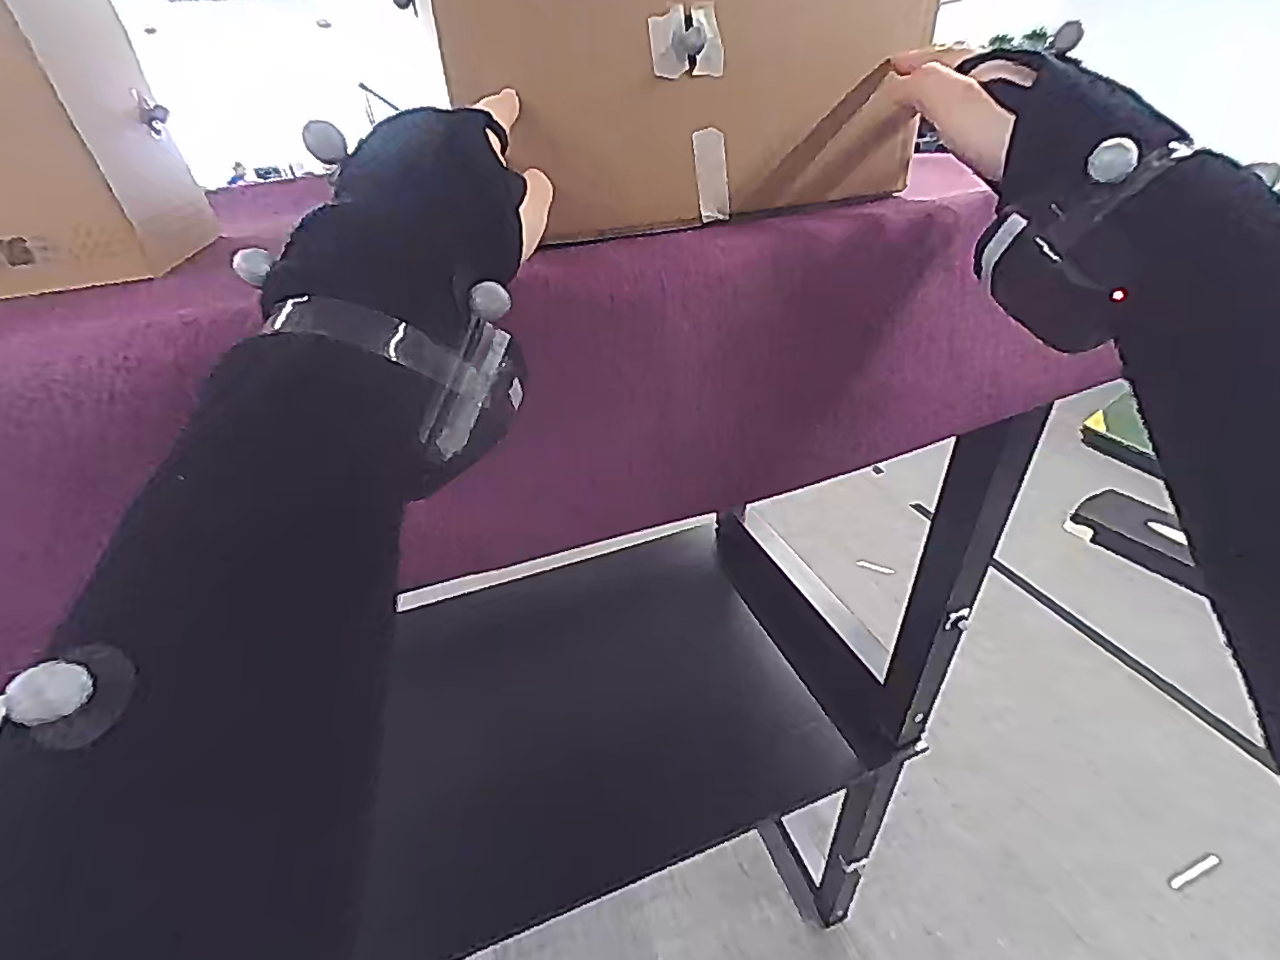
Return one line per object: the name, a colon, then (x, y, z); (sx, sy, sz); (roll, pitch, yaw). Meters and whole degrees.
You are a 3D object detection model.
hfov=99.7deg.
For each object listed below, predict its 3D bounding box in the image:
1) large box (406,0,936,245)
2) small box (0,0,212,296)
large box: (-0.024, -0.396, 0.431); (0.320, 0.320, 0.408); (-14, 34, -14)
small box: (-0.420, -0.220, 0.345); (0.168, 0.176, 0.179); (-16, 36, -15)
